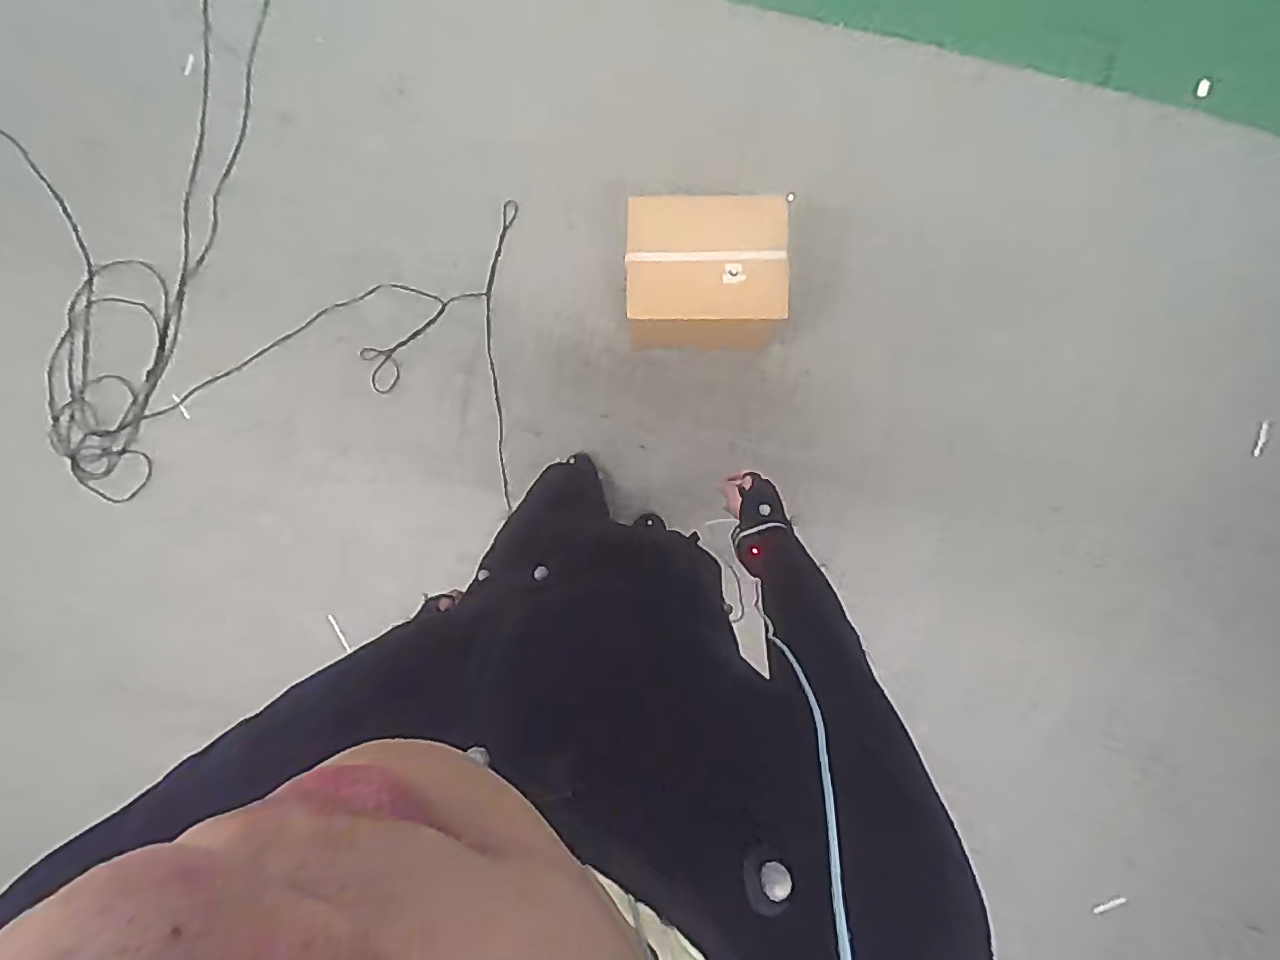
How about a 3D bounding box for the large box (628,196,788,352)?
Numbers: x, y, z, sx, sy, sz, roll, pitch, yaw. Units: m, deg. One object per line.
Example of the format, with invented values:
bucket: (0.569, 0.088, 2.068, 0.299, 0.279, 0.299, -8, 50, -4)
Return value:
large box: (0.174, -0.550, 1.497, 0.408, 0.320, 0.320, 1, 89, 2)
